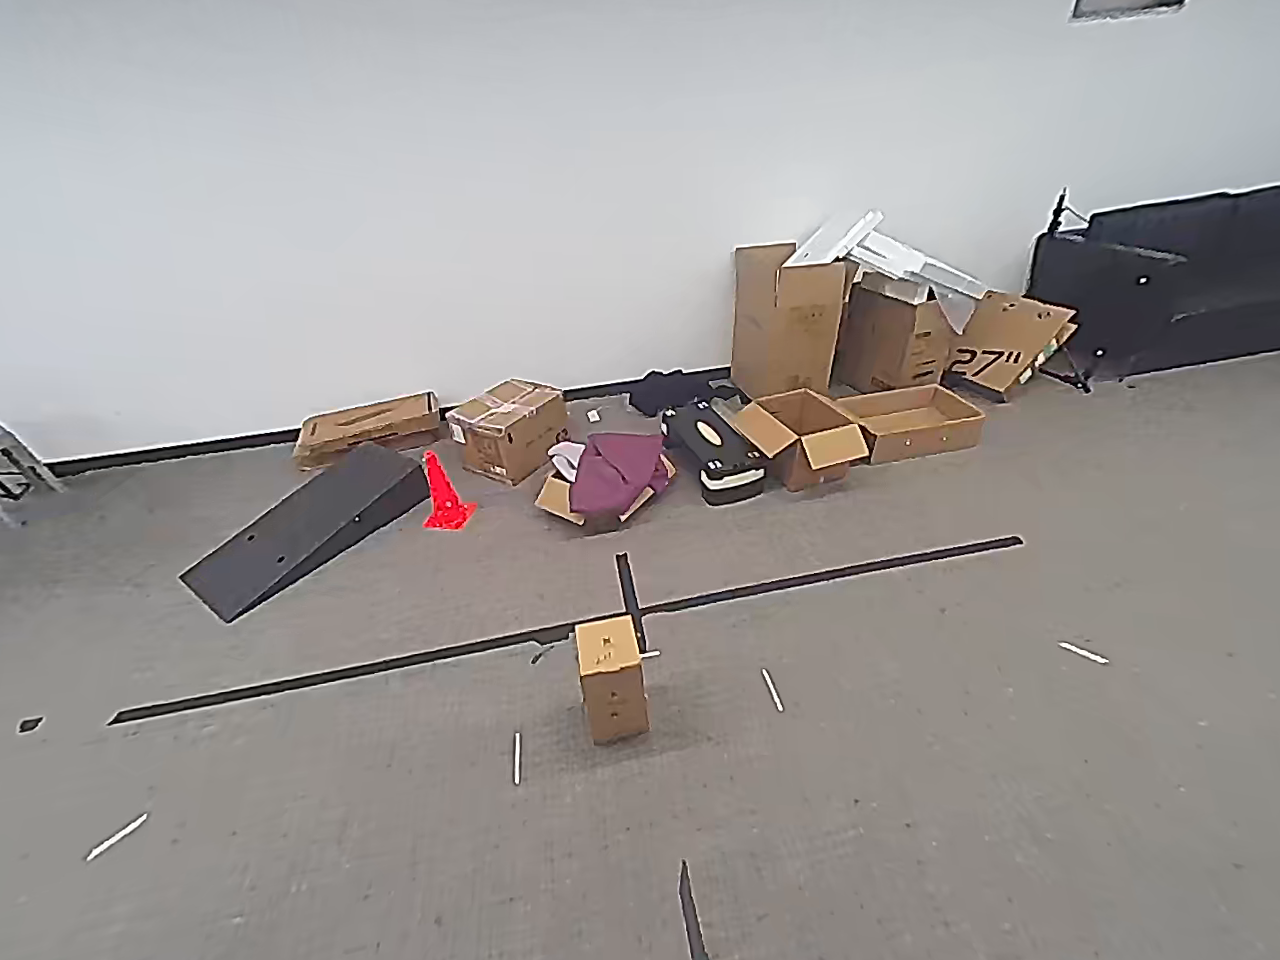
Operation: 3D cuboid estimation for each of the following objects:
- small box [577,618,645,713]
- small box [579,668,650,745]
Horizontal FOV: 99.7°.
[{"bbox_3d":[-0.082,0.523,1.528,0.168,0.176,0.179,-9,35,-6],"label":"small box"},{"bbox_3d":[-0.076,0.660,1.619,0.179,0.176,0.168,-11,35,-10],"label":"small box"}]
